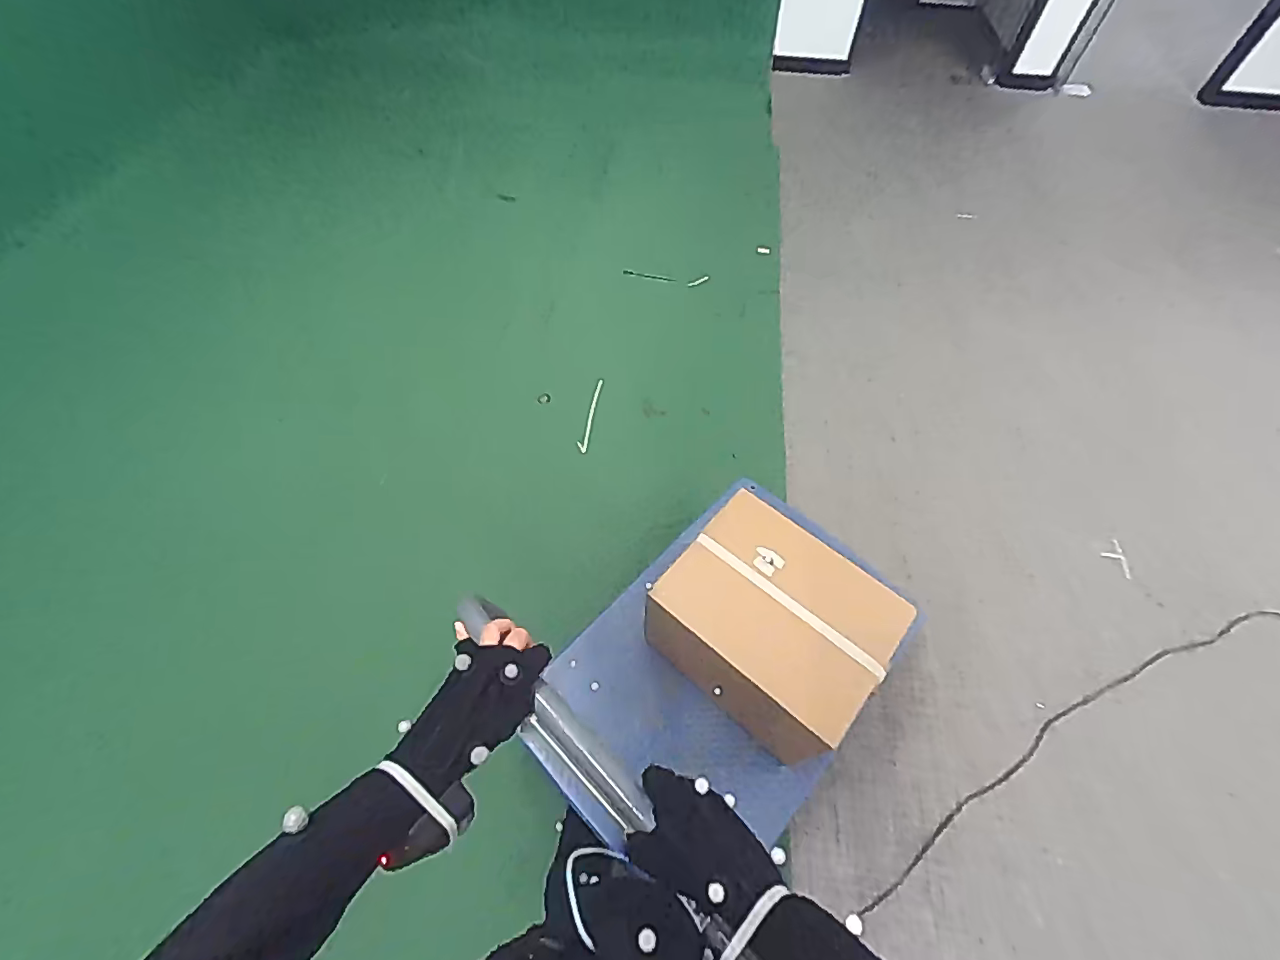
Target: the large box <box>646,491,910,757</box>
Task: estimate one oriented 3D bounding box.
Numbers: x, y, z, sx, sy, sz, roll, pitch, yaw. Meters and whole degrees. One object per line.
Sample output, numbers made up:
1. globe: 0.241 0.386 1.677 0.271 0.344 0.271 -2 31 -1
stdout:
1. large box: 0.259 0.305 1.138 0.408 0.320 0.320 37 63 20
